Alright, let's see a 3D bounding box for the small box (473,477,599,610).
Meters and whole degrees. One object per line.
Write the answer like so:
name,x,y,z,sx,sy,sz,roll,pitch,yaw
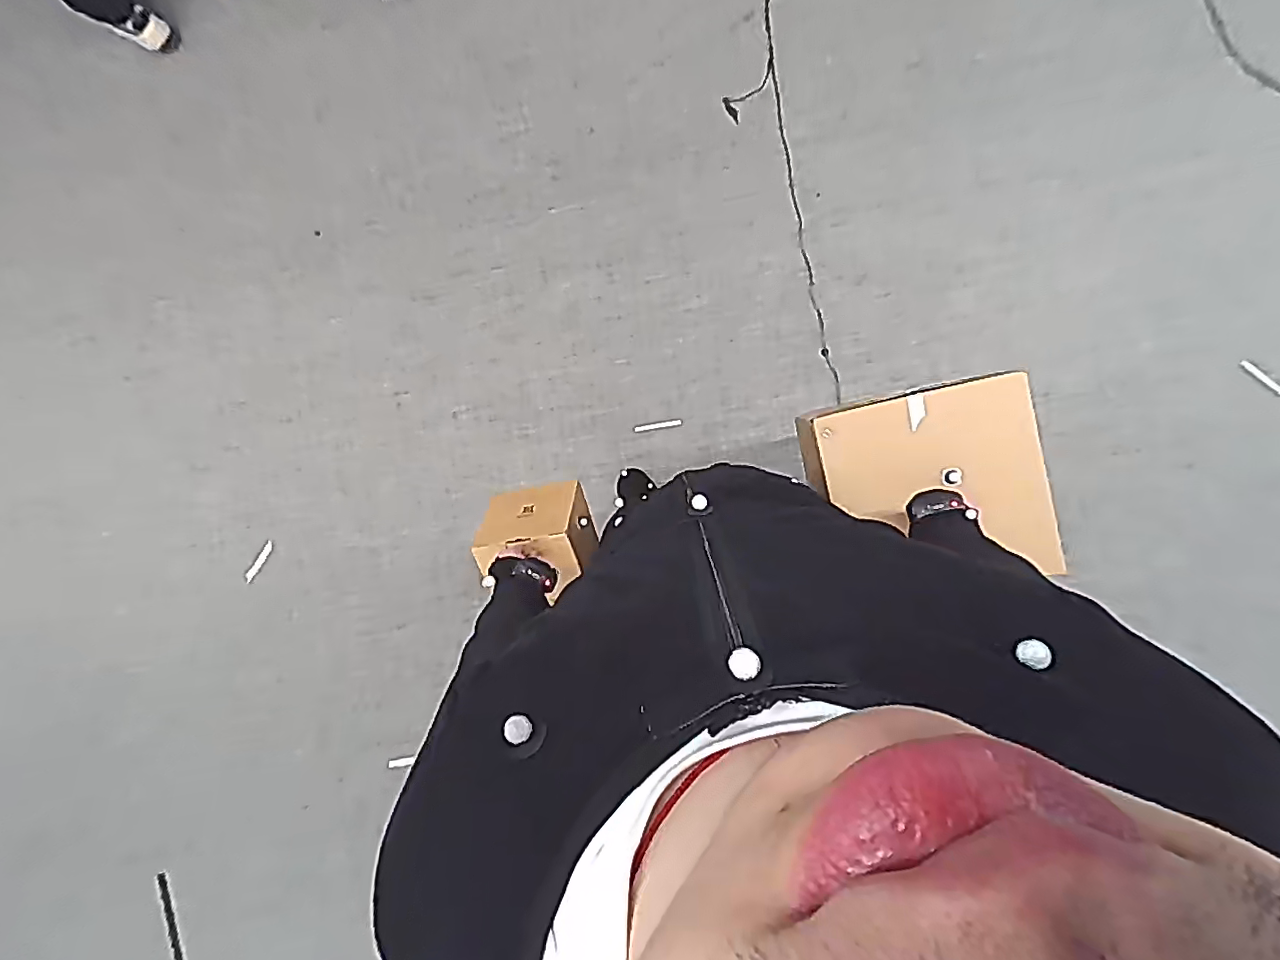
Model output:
small box,-0.178,0.121,0.986,0.168,0.179,0.176,-9,120,7
